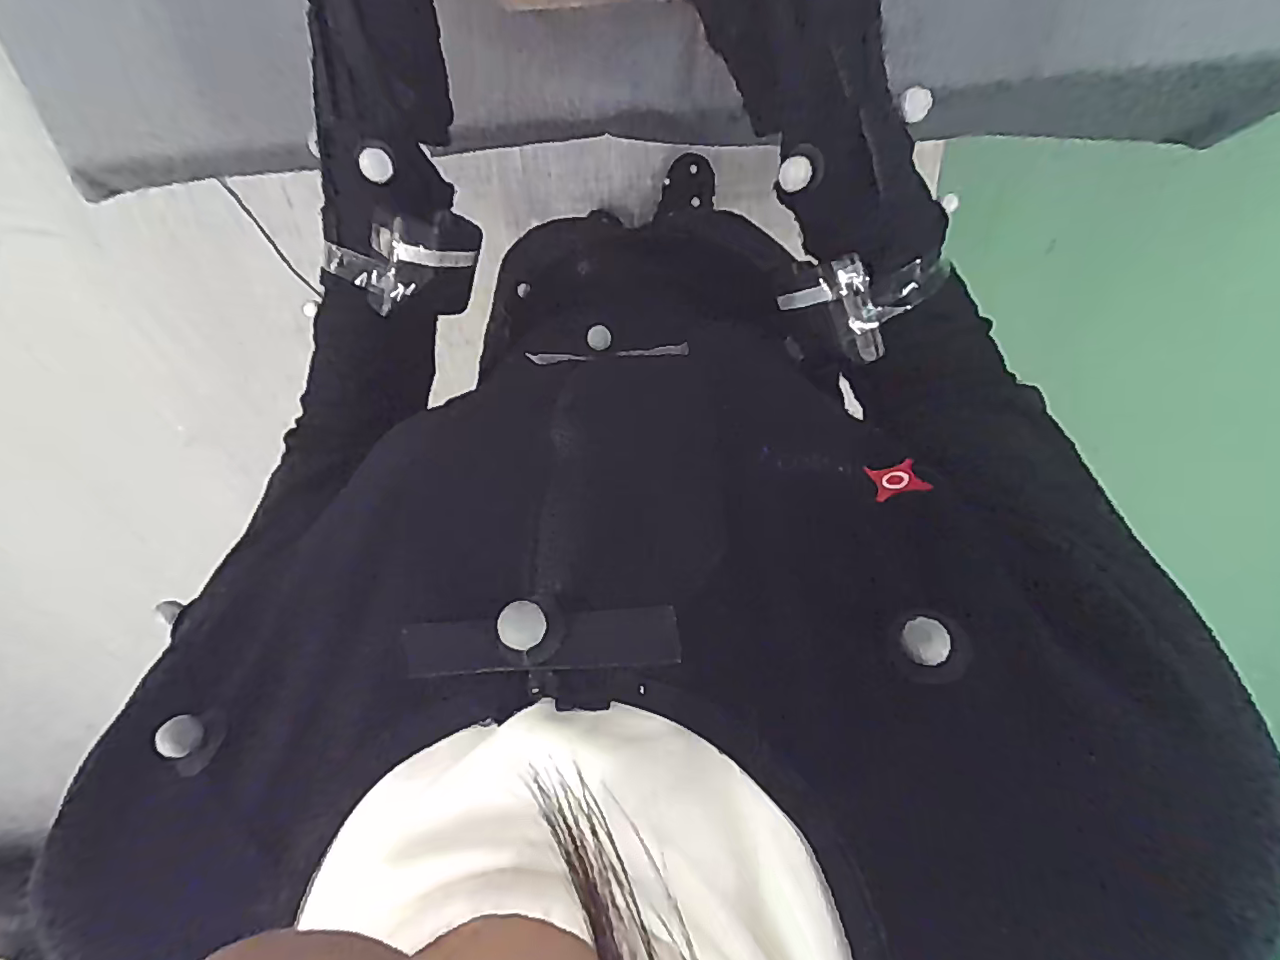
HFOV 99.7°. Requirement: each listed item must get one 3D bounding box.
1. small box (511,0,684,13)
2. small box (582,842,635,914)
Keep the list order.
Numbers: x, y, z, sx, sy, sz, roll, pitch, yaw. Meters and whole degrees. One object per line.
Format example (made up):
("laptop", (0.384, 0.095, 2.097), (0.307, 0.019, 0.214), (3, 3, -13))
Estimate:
("small box", (-0.032, -0.439, 0.362), (0.179, 0.176, 0.168), (-3, 122, 2))
("small box", (-0.113, 1.491, 2.031), (0.179, 0.176, 0.168), (-3, 120, 3))
